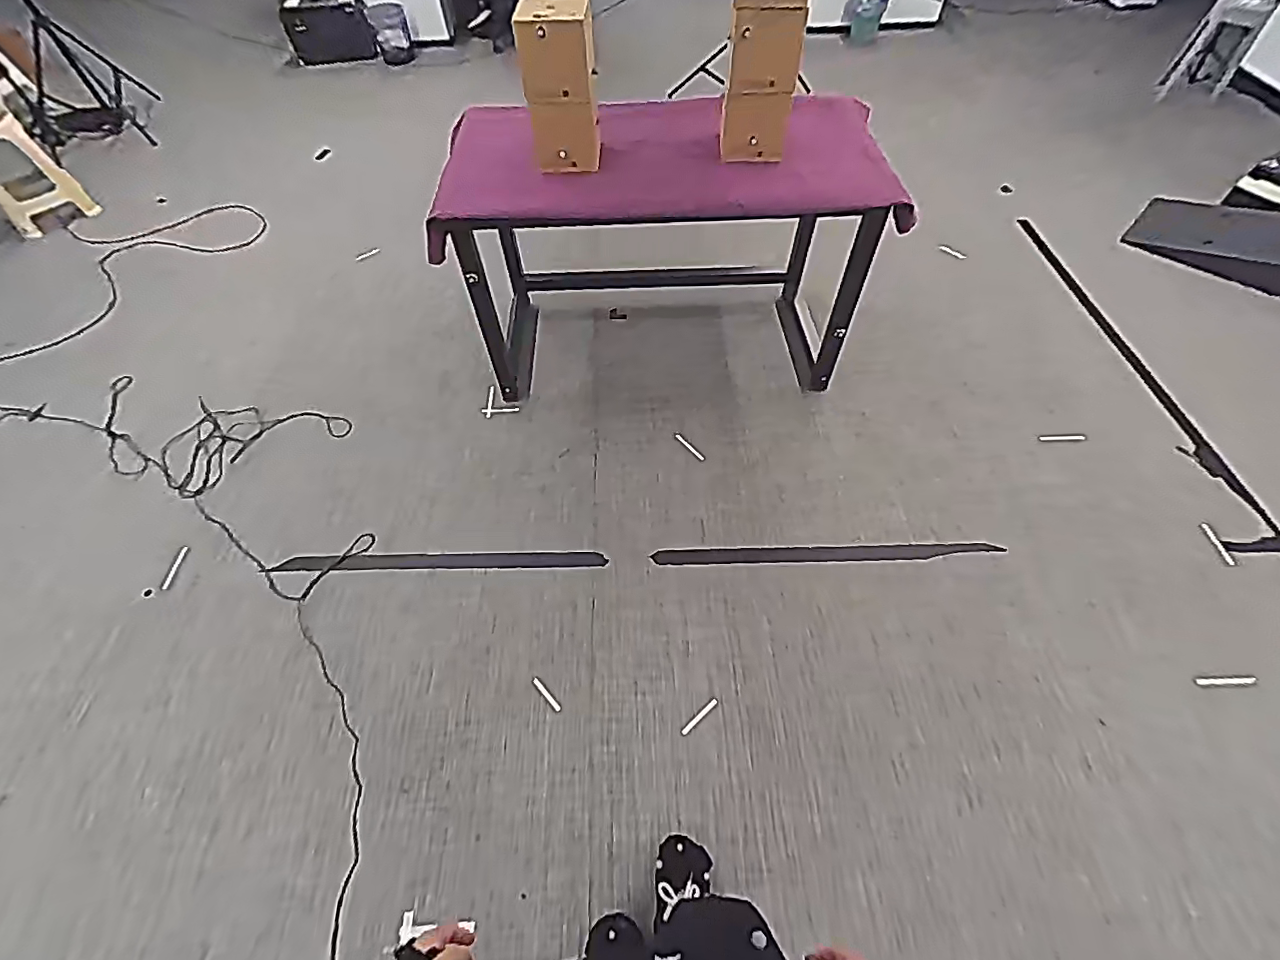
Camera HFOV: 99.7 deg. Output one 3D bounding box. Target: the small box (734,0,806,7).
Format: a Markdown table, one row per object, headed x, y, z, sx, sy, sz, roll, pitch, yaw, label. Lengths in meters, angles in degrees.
| x | y | z | sx | sy | sz | roll | pitch | yaw | label |
| --- | --- | --- | --- | --- | --- | --- | --- | --- | --- |
| 0.297 | -1.174 | 1.192 | 0.168 | 0.176 | 0.179 | 4 | 54 | 4 | small box |

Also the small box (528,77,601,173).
| x | y | z | sx | sy | sz | roll | pitch | yaw | label |
| --- | --- | --- | --- | --- | --- | --- | --- | --- | --- |
| -0.196 | -0.955 | 1.454 | 0.168 | 0.176 | 0.179 | -1 | 56 | 1 | small box |

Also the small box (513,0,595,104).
| x | y | z | sx | sy | sz | roll | pitch | yaw | label |
| --- | --- | --- | --- | --- | --- | --- | --- | --- | --- |
| -0.201 | -1.048 | 1.319 | 0.168 | 0.176 | 0.179 | 0 | 55 | 2 | small box |

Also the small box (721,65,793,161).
| x | y | z | sx | sy | sz | roll | pitch | yaw | label |
| --- | --- | --- | --- | --- | --- | --- | --- | --- | --- |
| 0.310 | -0.993 | 1.464 | 0.168 | 0.176 | 0.179 | 2 | 55 | 4 | small box |
